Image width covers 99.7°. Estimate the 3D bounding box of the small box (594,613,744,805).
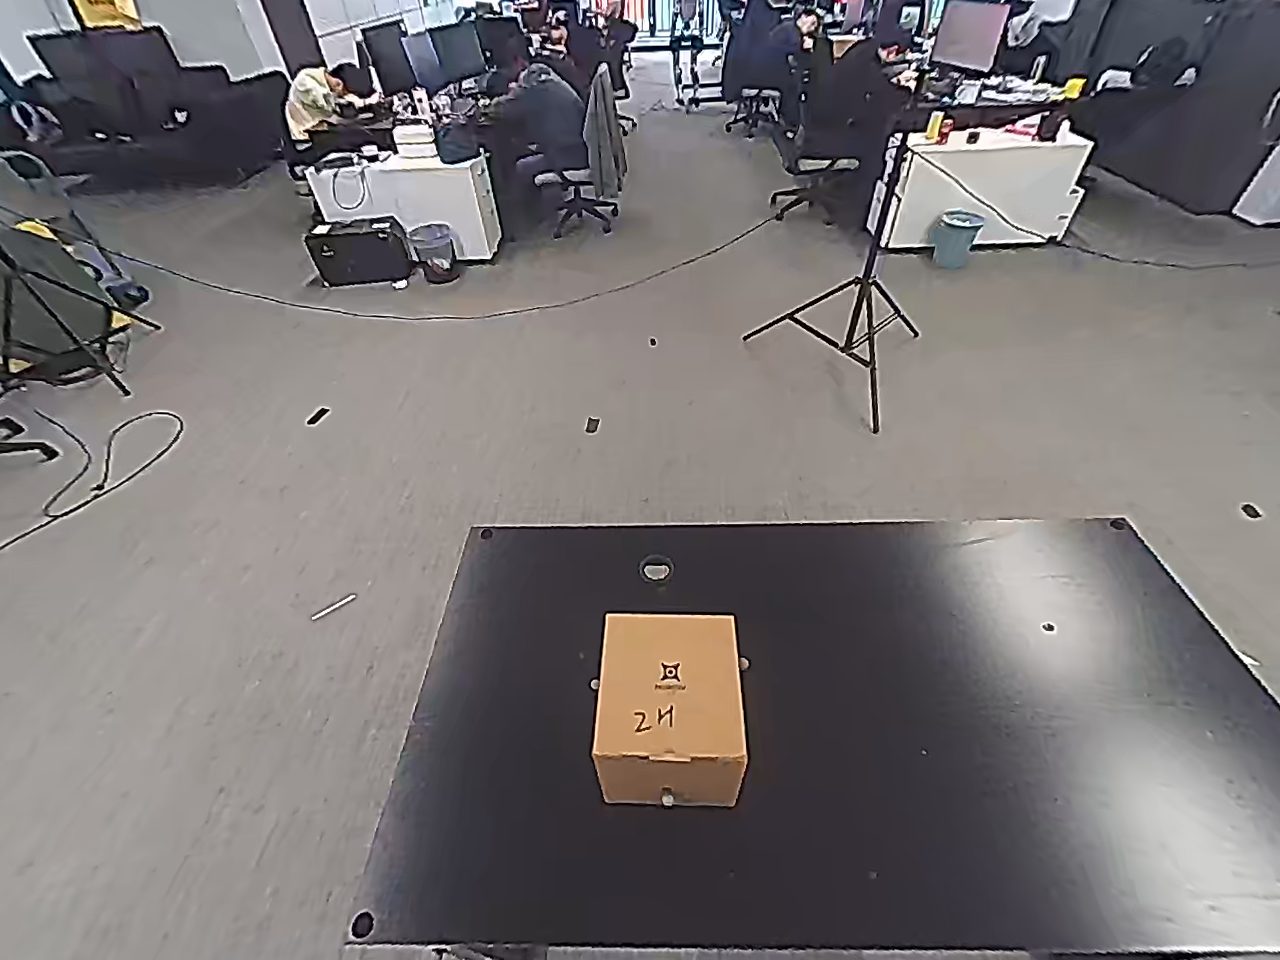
[{"bbox_3d":[0.037,0.291,0.693,0.168,0.176,0.179,0,44,4],"label":"small box"}]
